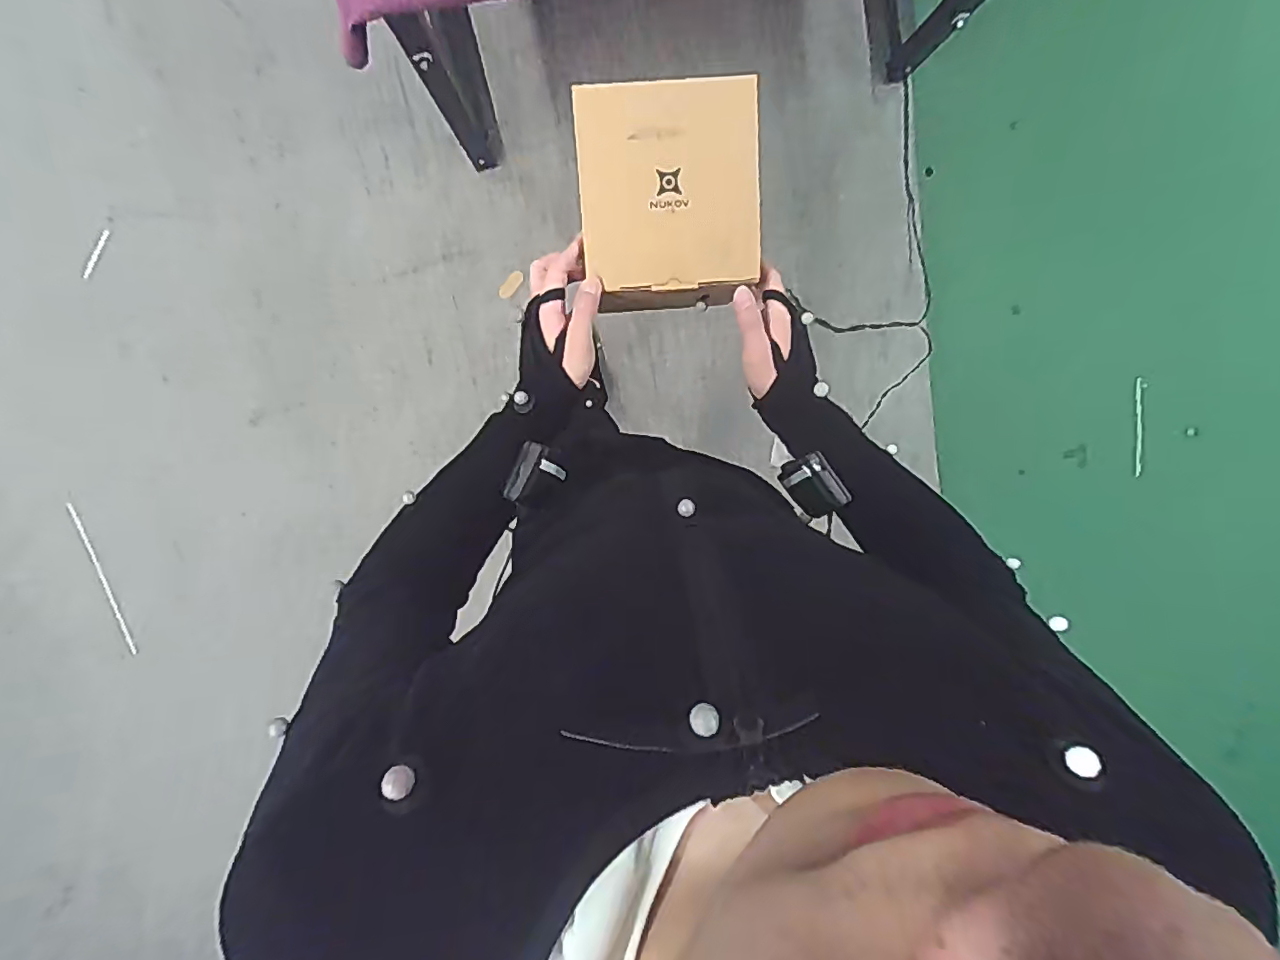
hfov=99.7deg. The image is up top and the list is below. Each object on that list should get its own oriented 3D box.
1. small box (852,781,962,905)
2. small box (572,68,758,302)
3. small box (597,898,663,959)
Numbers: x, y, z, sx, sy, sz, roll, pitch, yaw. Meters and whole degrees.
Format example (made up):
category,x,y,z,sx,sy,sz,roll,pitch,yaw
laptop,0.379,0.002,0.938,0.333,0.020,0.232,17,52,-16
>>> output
category,x,y,z,sx,sy,sz,roll,pitch,yaw
small box,0.692,0.955,1.435,0.179,0.176,0.168,-44,99,4
small box,0.023,-0.285,0.564,0.168,0.176,0.179,-3,100,-1
small box,-0.030,1.257,1.441,0.168,0.176,0.179,-1,99,-3
